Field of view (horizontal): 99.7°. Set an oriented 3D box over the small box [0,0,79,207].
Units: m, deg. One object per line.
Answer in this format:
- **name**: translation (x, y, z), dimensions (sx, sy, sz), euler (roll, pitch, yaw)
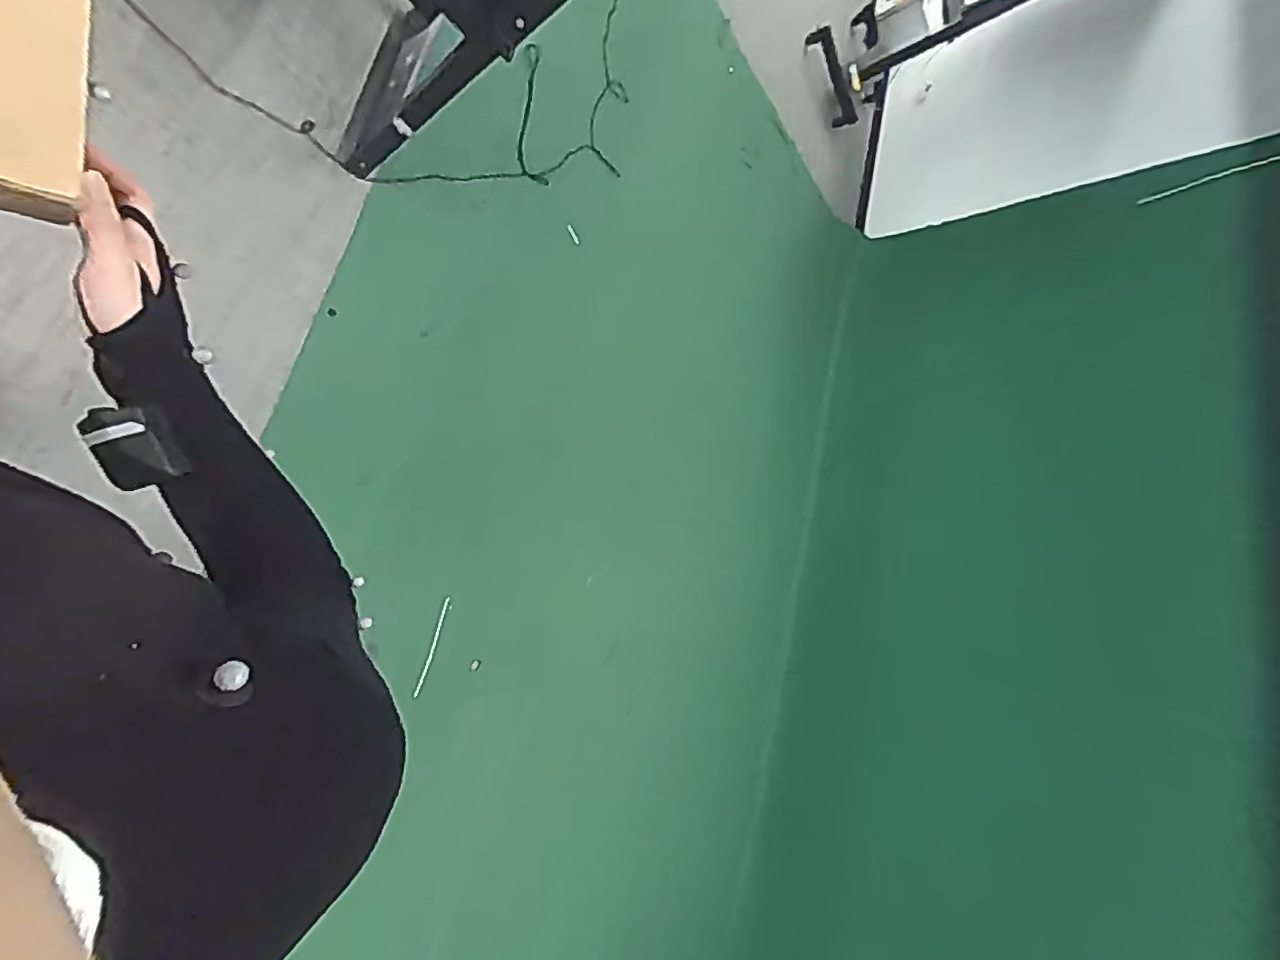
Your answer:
- **small box**: translation (-0.456, -0.285, 0.320), dimensions (0.168, 0.176, 0.179), euler (3, 101, -49)
